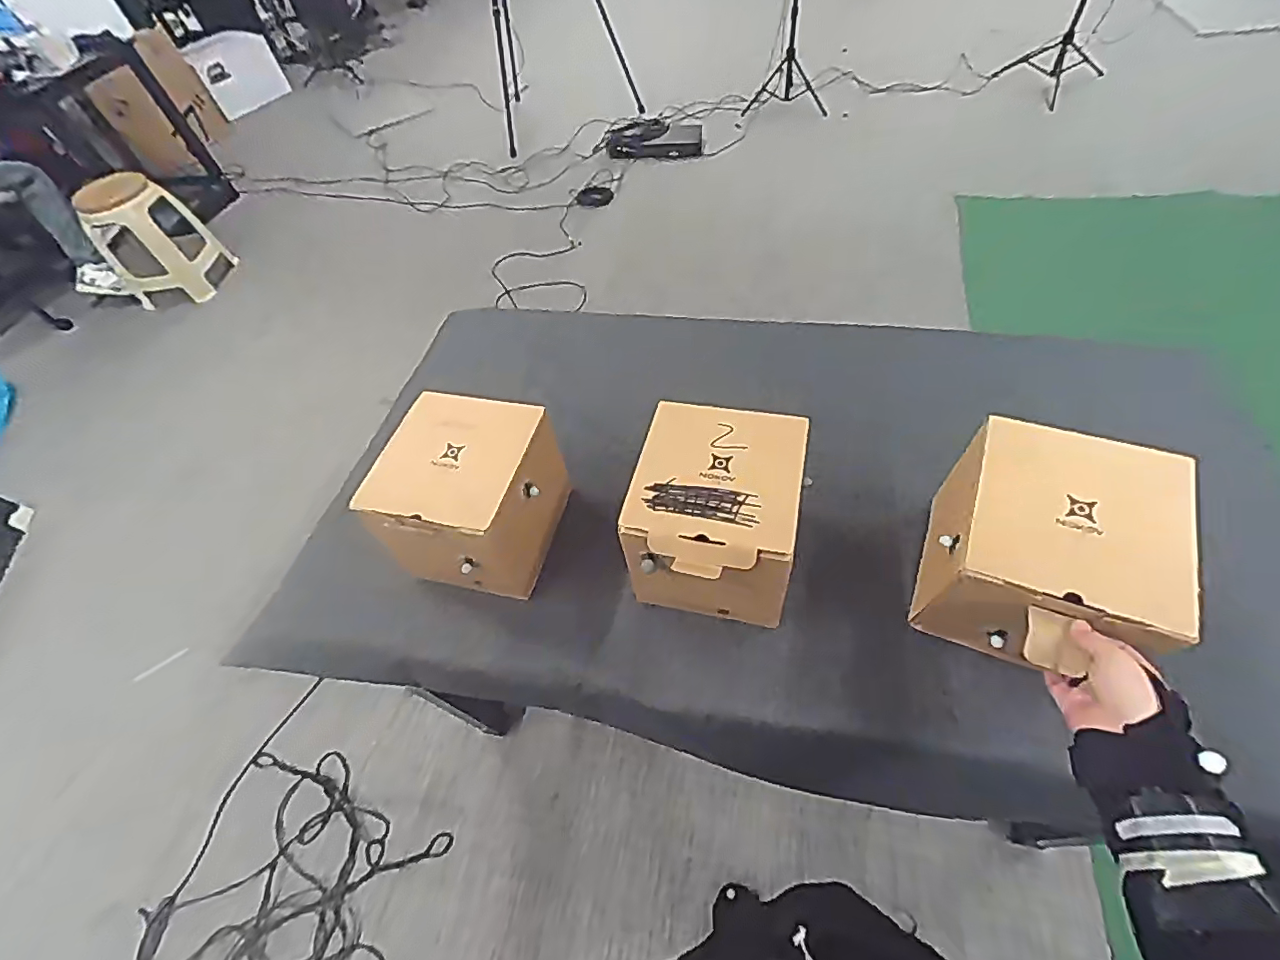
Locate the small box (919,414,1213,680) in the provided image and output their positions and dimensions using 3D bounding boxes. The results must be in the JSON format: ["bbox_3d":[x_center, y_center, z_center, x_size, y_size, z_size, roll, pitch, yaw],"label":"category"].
[{"bbox_3d":[0.394,0.069,0.528,0.168,0.176,0.179,17,64,18],"label":"small box"}]

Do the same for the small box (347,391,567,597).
[{"bbox_3d":[-0.199,0.020,0.654,0.168,0.176,0.179,9,55,12],"label":"small box"}]
